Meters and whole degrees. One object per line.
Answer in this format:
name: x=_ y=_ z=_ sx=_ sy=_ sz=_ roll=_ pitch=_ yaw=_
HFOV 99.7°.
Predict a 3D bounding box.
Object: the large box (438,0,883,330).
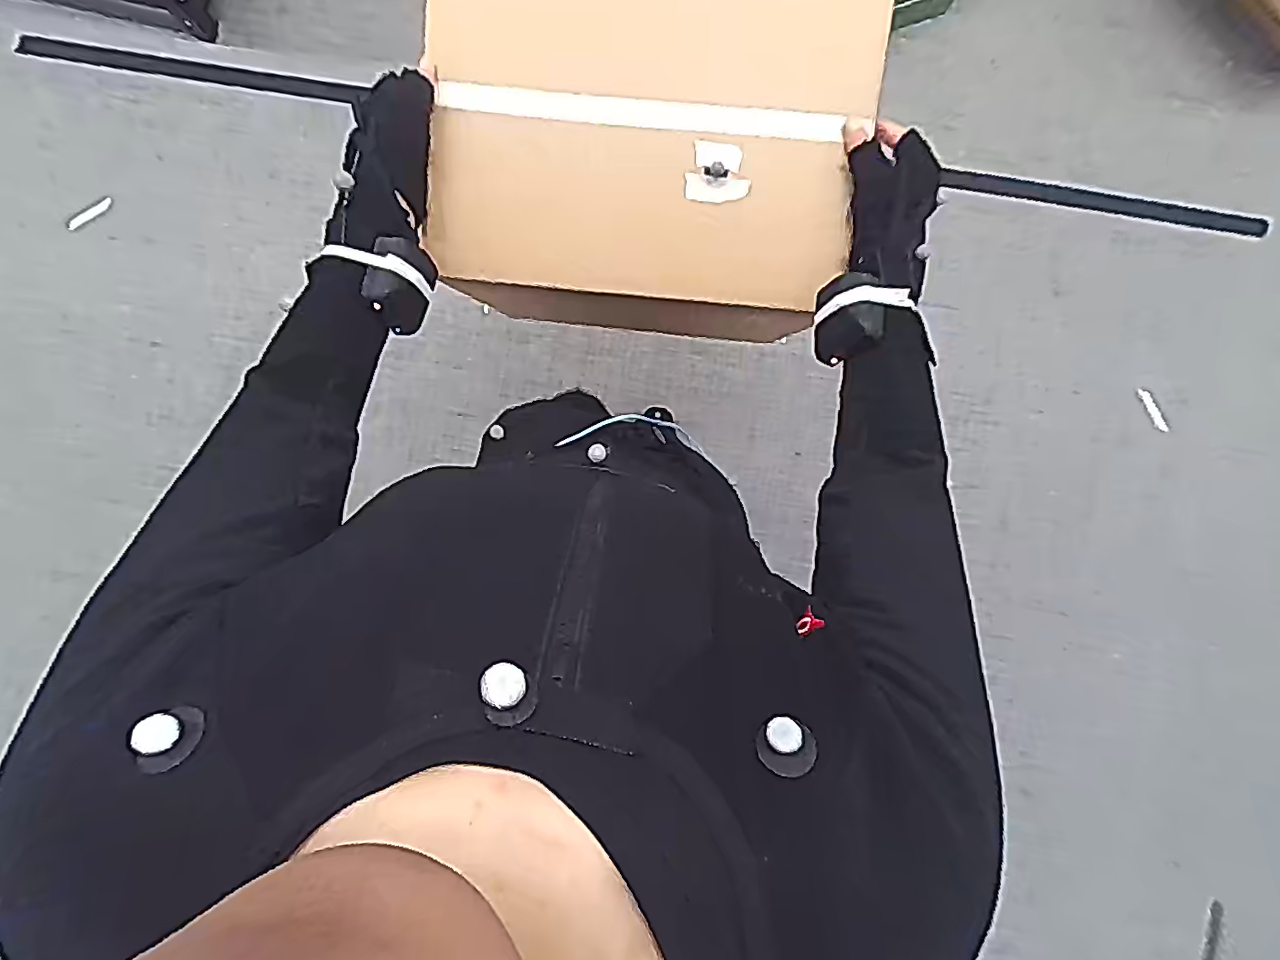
large box: x=0.012 y=-0.366 z=0.645 sx=0.408 sy=0.320 sz=0.320 roll=5 pitch=100 yaw=0
